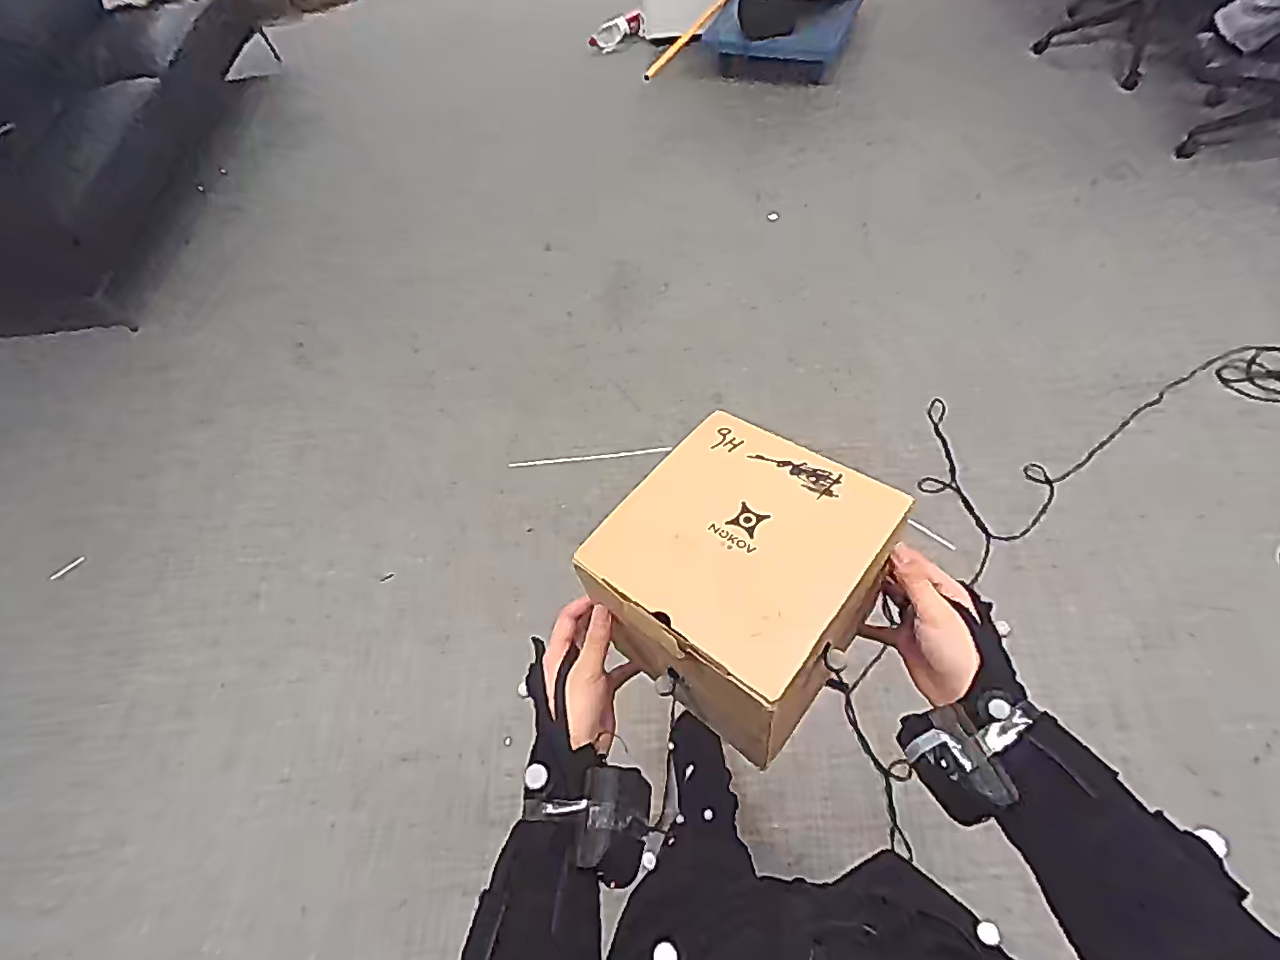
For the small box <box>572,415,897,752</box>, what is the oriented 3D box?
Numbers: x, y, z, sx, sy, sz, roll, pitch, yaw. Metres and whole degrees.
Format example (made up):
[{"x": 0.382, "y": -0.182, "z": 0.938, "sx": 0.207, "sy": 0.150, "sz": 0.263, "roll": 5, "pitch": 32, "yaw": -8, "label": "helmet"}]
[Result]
[{"x": 0.078, "y": 0.085, "z": 0.440, "sx": 0.168, "sy": 0.176, "sz": 0.179, "roll": 30, "pitch": 63, "yaw": 30, "label": "small box"}]
